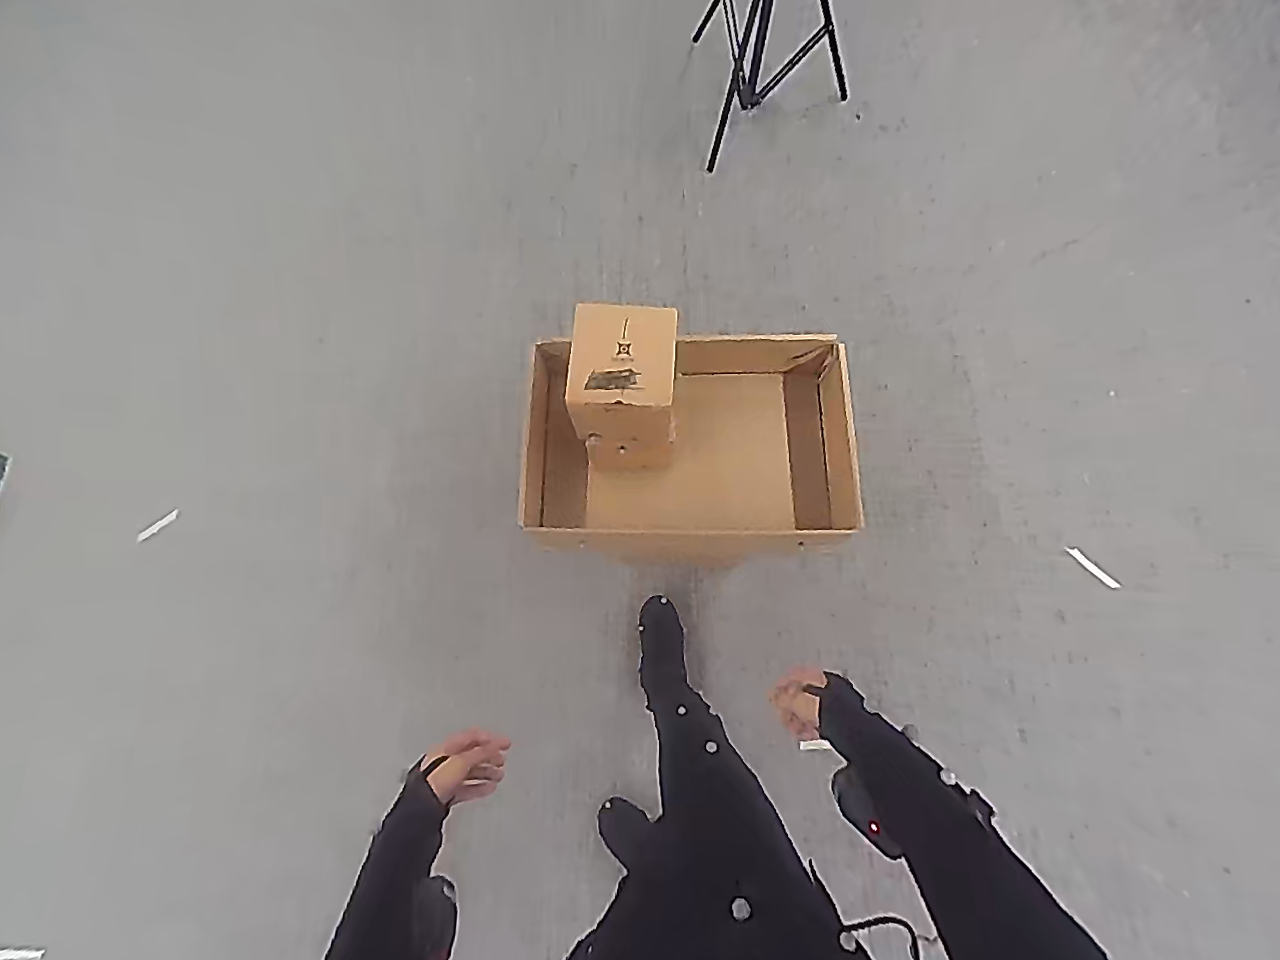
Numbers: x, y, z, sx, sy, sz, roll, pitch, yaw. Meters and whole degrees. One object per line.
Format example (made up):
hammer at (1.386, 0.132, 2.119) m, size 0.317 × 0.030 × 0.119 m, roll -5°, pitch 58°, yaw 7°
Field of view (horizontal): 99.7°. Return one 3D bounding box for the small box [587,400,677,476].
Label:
small box at (-0.017, -0.117, 1.079) m, size 0.168 × 0.176 × 0.179 m, roll -2°, pitch 73°, yaw 0°

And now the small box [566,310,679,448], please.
small box at (-0.024, -0.164, 0.921) m, size 0.168 × 0.176 × 0.179 m, roll 4°, pitch 74°, yaw 1°
